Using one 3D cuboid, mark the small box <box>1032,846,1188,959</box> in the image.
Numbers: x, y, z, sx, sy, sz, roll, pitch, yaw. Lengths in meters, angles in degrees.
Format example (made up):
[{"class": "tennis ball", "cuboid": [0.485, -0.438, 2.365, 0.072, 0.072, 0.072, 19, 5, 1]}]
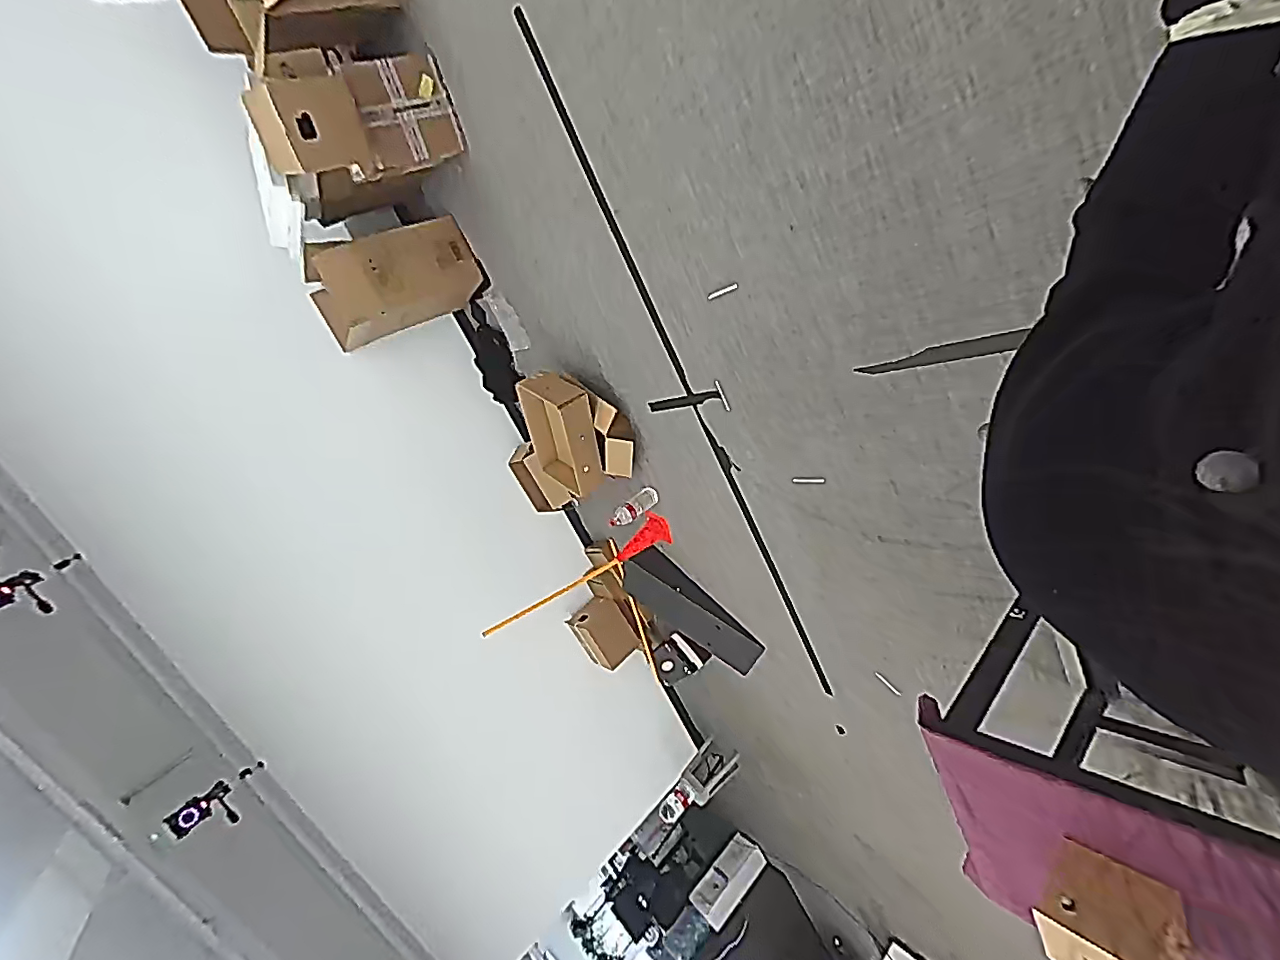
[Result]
[{"class": "small box", "cuboid": [0.875, 0.833, 1.007, 0.179, 0.176, 0.168, 2, 123, 55]}]
